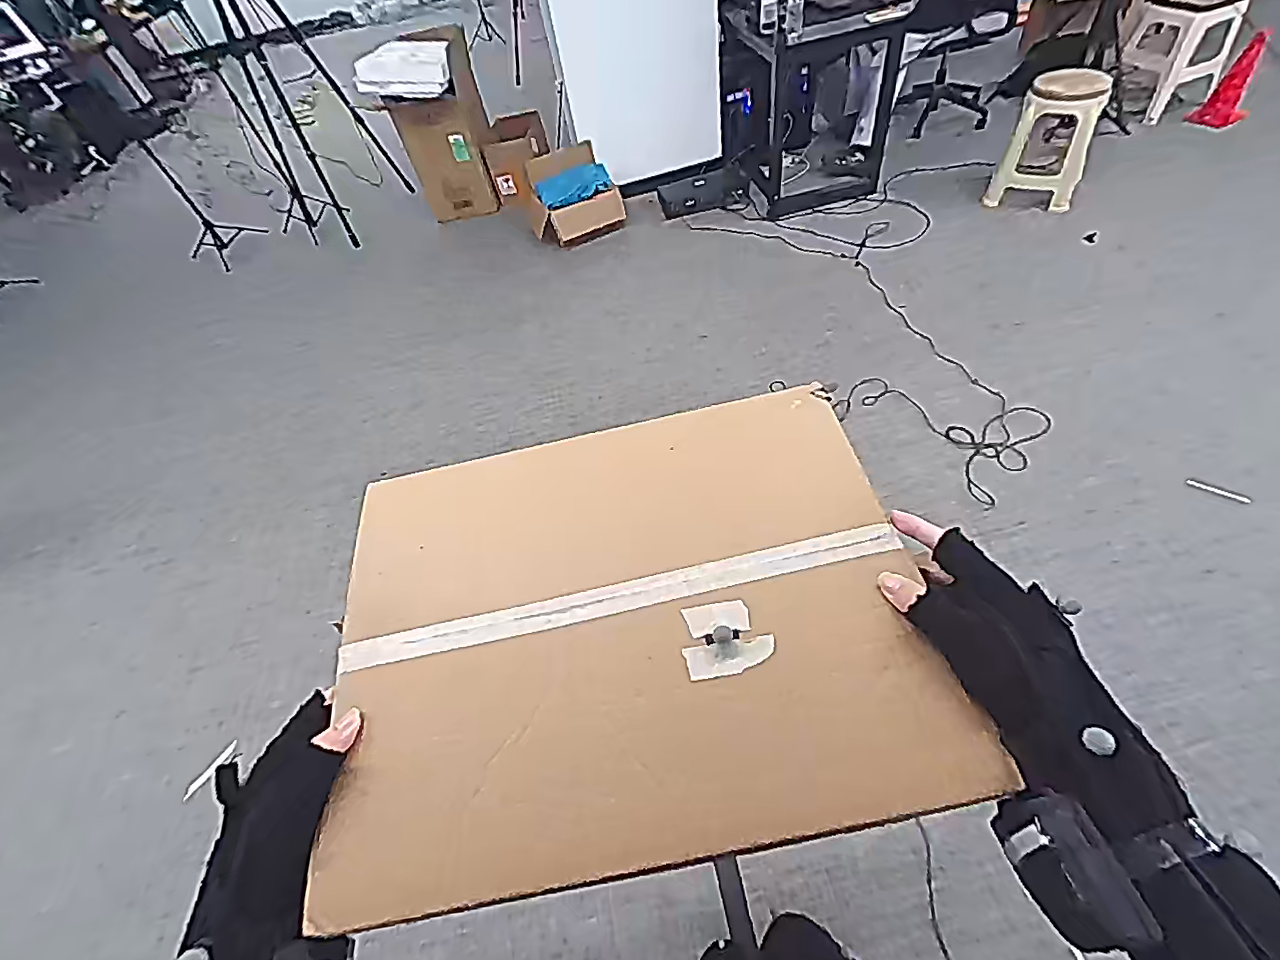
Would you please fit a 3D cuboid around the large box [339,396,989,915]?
[{"bbox_3d":[0.007,0.173,0.523,0.408,0.320,0.320,-13,55,1],"label":"large box"}]
